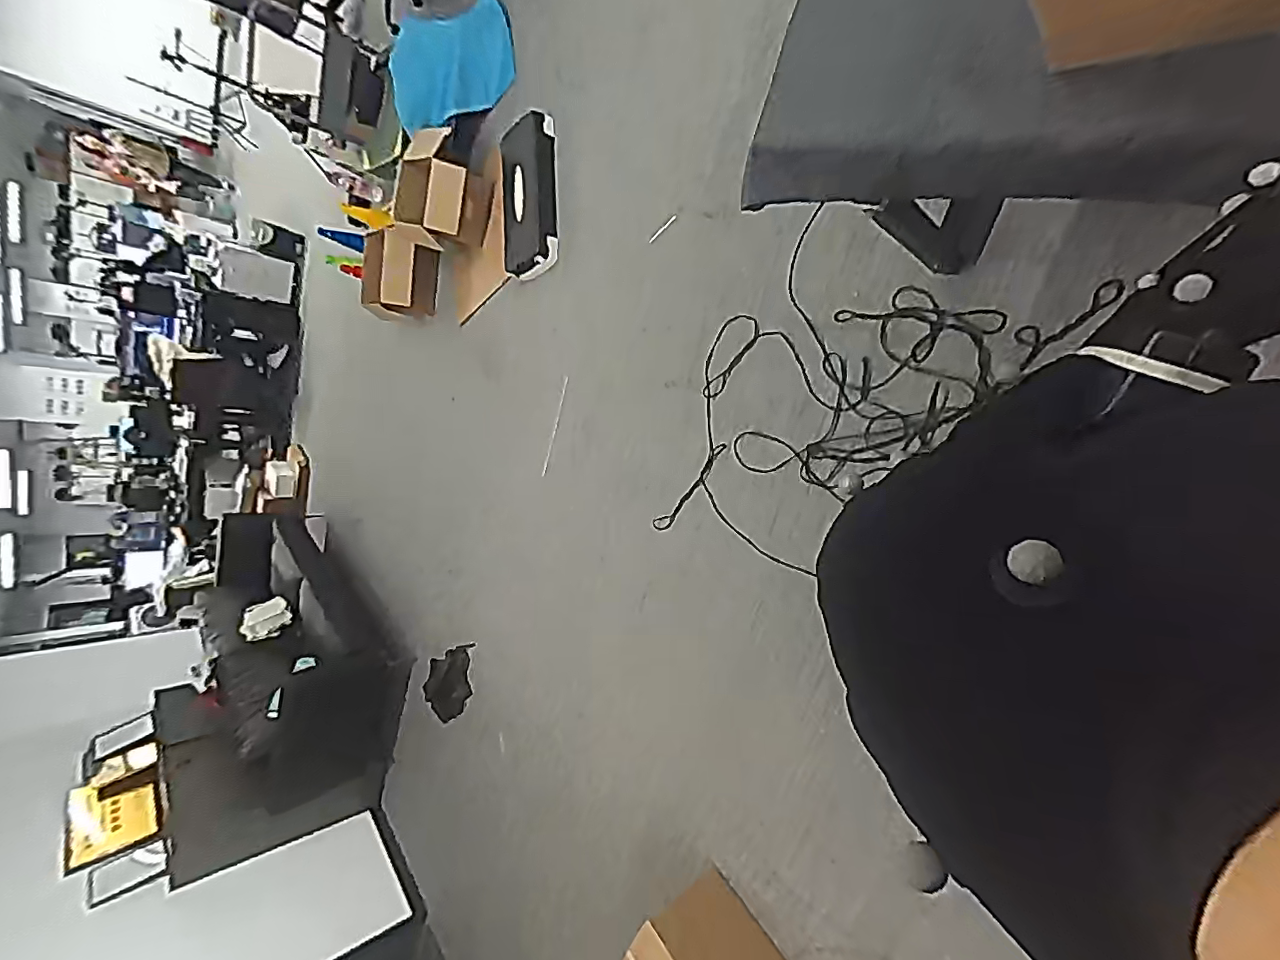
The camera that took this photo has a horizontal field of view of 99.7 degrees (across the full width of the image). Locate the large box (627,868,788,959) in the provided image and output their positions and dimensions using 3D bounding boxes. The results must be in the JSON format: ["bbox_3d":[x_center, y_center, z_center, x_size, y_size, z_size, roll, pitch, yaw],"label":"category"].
[{"bbox_3d":[0.211,1.457,1.550,0.408,0.320,0.320,39,115,39],"label":"large box"}]
